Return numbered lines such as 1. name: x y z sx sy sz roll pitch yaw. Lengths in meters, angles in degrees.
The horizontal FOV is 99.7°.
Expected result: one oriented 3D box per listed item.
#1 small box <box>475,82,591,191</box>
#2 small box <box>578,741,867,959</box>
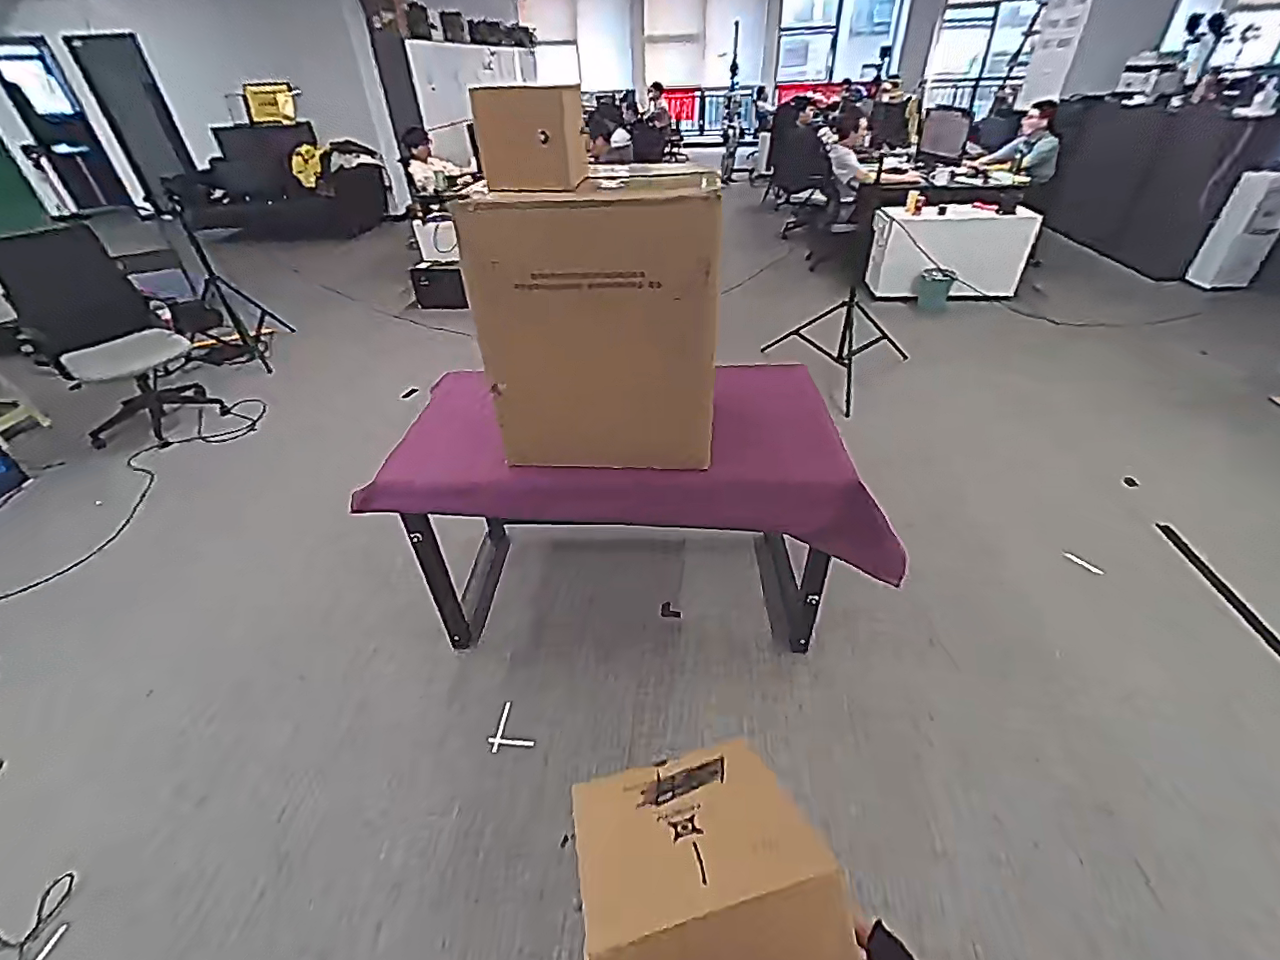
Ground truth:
1. small box: -0.199 -0.681 1.071 0.179 0.176 0.168 3 37 7
2. small box: 0.052 0.333 0.404 0.168 0.176 0.179 -11 -1 -11
